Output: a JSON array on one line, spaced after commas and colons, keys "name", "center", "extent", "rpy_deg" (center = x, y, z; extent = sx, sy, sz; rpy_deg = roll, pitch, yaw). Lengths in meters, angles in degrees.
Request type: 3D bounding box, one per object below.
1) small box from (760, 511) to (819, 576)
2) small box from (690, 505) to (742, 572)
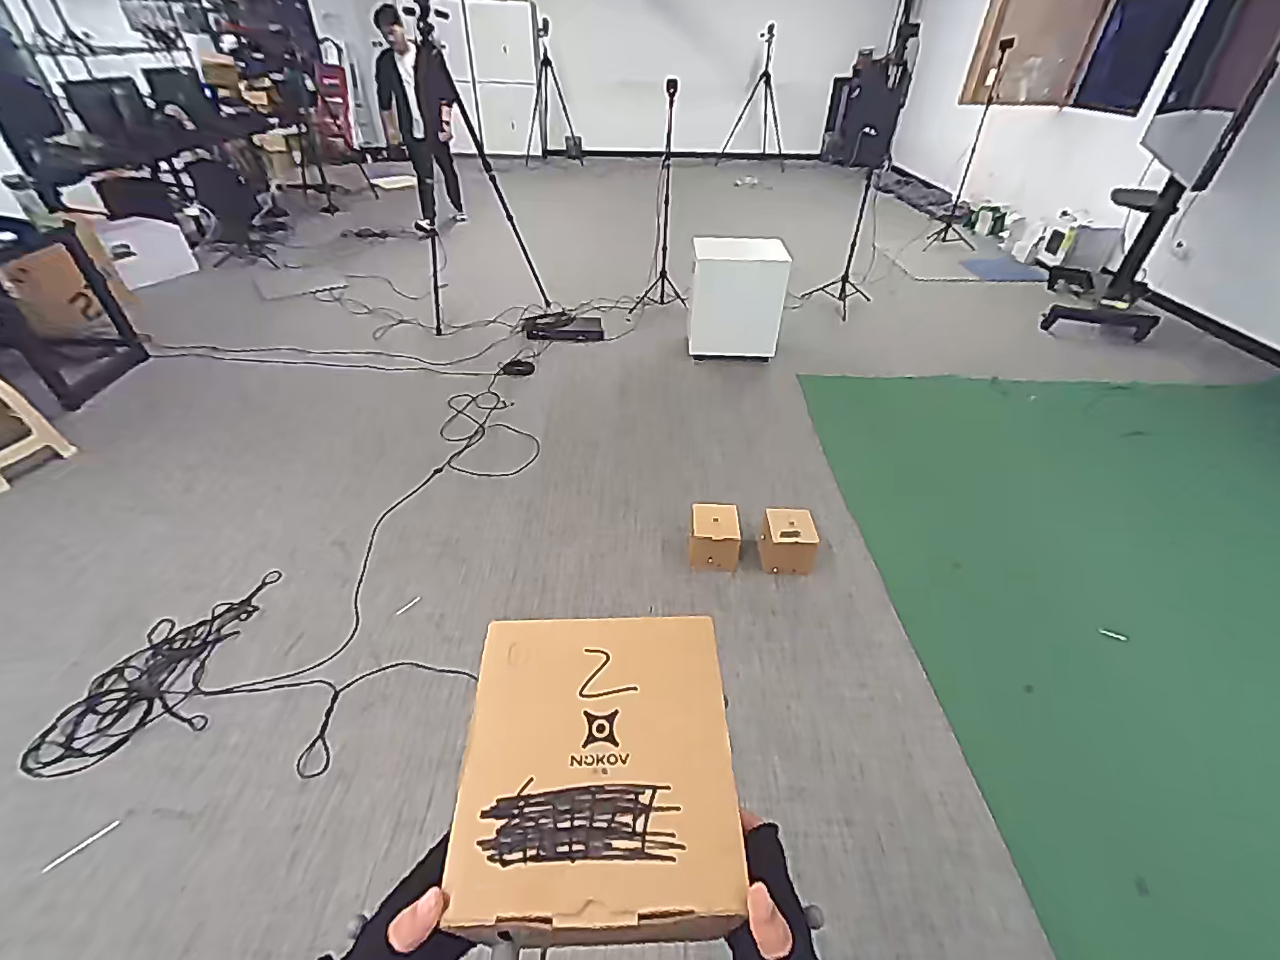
[{"name": "small box", "center": [0.544, 0.235, 1.986], "extent": [0.168, 0.176, 0.179], "rpy_deg": [2, 39, 0]}, {"name": "small box", "center": [0.276, 0.217, 1.997], "extent": [0.168, 0.176, 0.179], "rpy_deg": [3, 40, 1]}]
